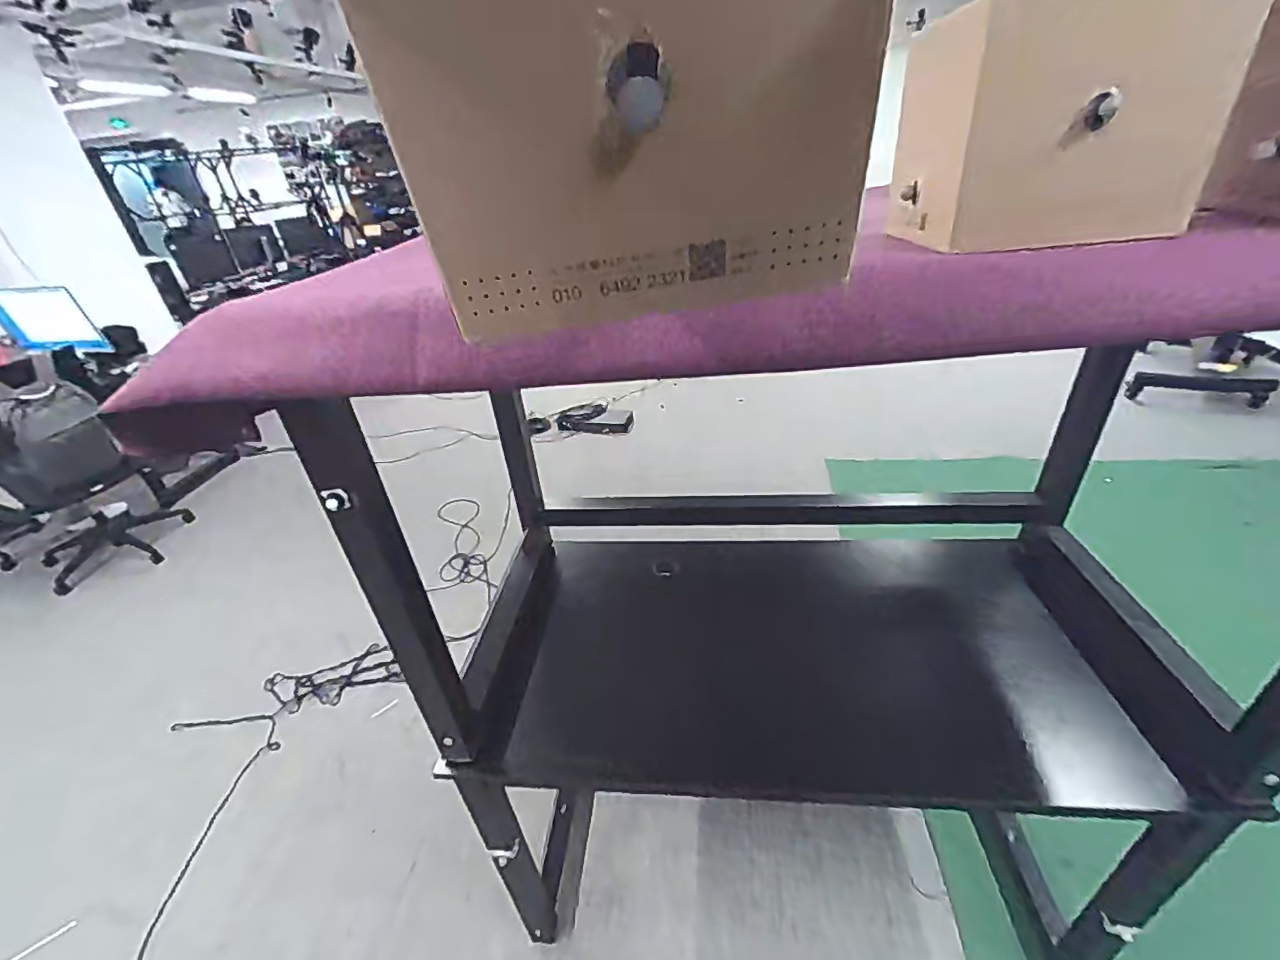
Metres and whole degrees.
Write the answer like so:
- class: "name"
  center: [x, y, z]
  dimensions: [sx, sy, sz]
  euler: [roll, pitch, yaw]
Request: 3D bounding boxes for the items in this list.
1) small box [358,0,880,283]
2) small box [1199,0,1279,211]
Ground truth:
- class: "small box"
  center: [-0.009, -0.196, 0.226]
  dimensions: [0.168, 0.176, 0.179]
  euler: [-8, 45, 0]
- class: "small box"
  center: [0.610, -0.305, 0.412]
  dimensions: [0.179, 0.176, 0.168]
  euler: [-2, 32, 9]
